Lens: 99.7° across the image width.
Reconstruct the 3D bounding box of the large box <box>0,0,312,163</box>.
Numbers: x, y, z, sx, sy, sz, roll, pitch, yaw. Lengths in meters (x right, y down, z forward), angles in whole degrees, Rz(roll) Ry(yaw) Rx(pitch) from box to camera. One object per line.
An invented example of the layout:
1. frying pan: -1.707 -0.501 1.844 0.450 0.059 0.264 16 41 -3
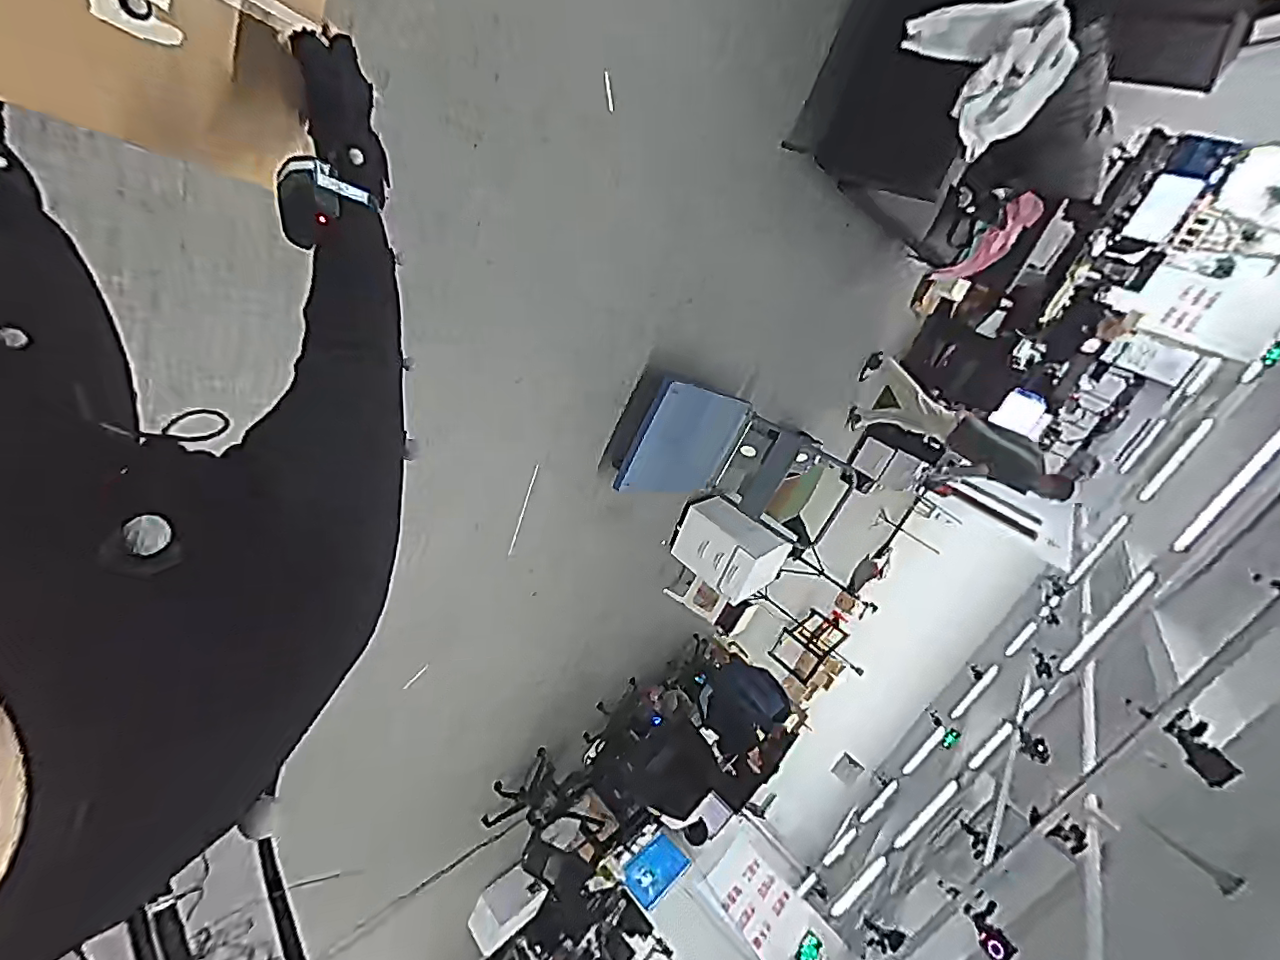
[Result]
1. large box: -0.548 -0.543 0.448 0.408 0.320 0.320 -5 131 -54
